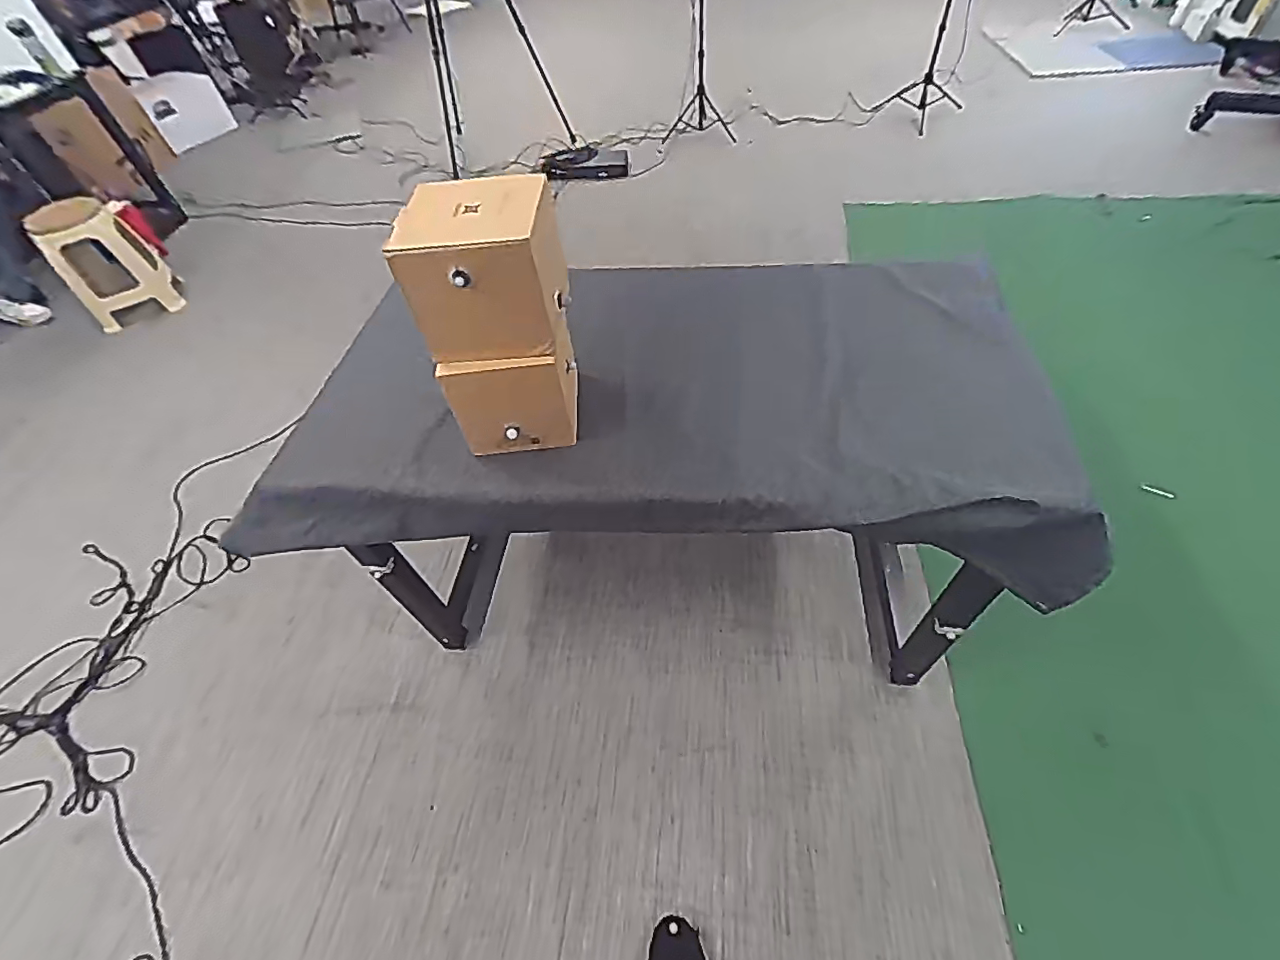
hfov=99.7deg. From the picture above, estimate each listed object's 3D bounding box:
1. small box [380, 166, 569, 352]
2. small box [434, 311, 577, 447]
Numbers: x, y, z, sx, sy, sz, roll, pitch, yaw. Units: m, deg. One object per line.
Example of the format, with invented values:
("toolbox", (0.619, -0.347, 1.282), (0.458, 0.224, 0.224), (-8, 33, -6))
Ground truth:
("small box", (-0.201, -0.284, 0.712), (0.179, 0.176, 0.168), (-2, 53, 3))
("small box", (-0.192, -0.173, 0.831), (0.168, 0.176, 0.179), (-6, 52, 2))
